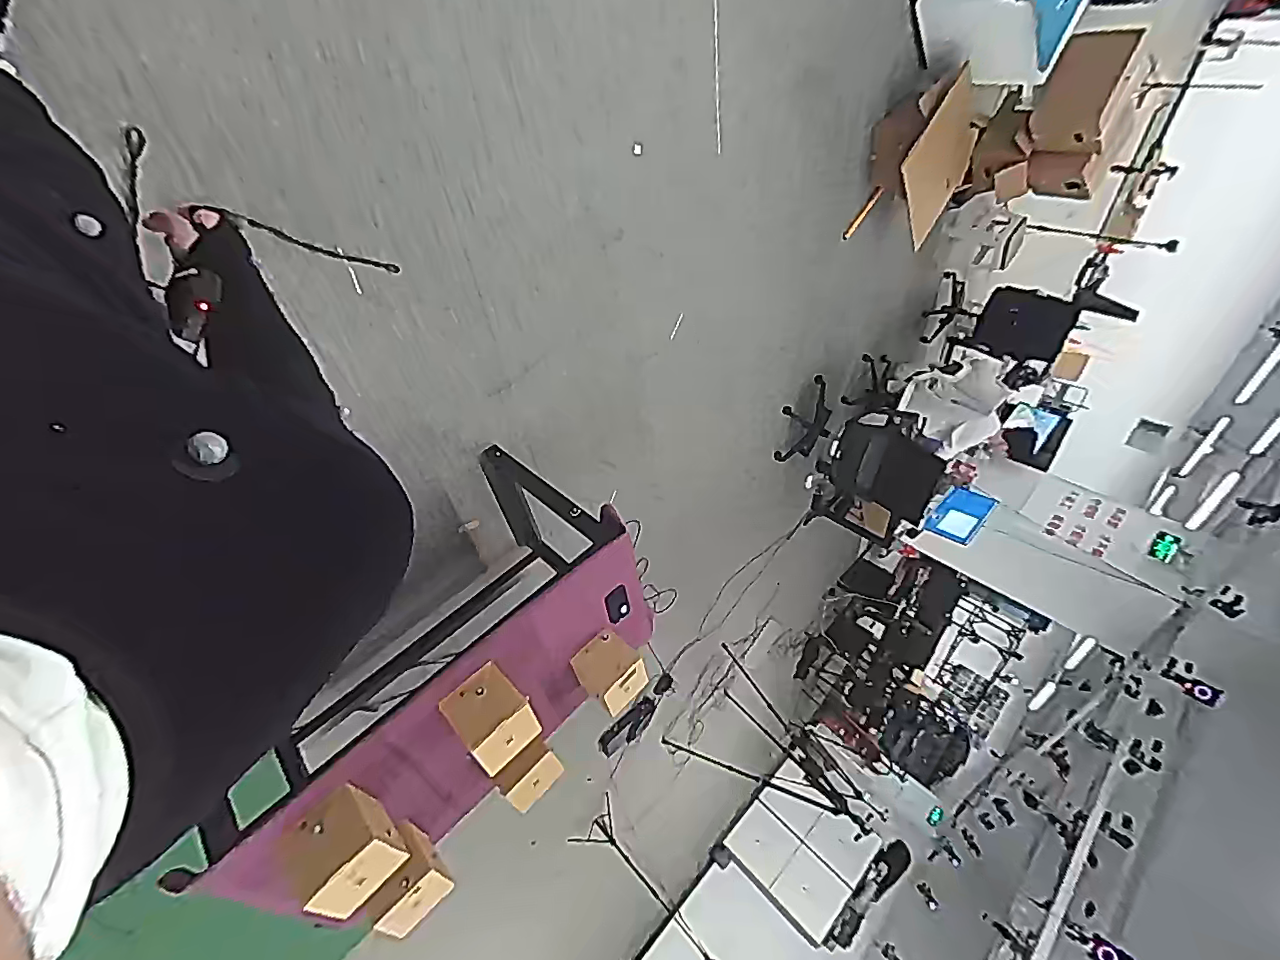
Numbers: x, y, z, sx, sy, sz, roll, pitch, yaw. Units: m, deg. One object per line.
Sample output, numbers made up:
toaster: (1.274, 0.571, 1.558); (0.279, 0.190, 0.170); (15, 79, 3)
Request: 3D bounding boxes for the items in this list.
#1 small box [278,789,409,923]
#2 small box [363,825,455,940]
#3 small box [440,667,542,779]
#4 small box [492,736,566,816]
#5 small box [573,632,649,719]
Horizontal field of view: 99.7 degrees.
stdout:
small box: (-0.660, 0.834, 1.209); (0.168, 0.176, 0.179); (-40, 141, -26)
small box: (-0.625, 1.054, 1.424); (0.168, 0.176, 0.179); (-38, 140, -27)
small box: (-0.380, 0.616, 1.387); (0.168, 0.176, 0.179); (-37, 141, -27)
small box: (-0.349, 0.839, 1.596); (0.168, 0.176, 0.179); (-39, 140, -26)
small box: (-0.093, 0.618, 1.734); (0.168, 0.176, 0.179); (-38, 141, -25)
